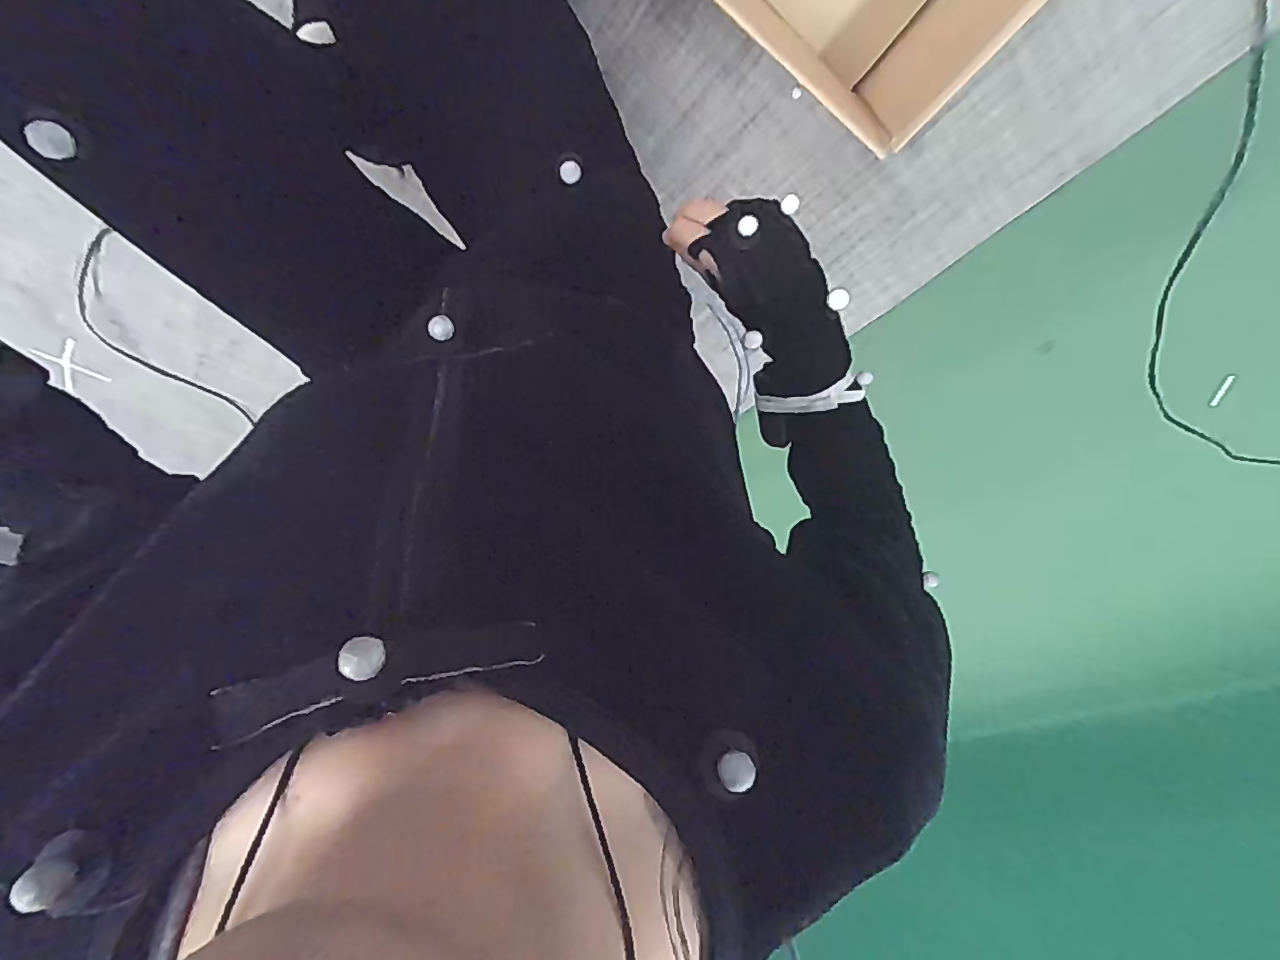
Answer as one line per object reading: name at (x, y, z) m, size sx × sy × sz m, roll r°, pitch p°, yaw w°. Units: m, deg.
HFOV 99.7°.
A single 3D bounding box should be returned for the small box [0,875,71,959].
small box at (-1.435, 0.992, 1.206) m, size 0.179 × 0.176 × 0.168 m, roll 24°, pitch 137°, yaw -31°
